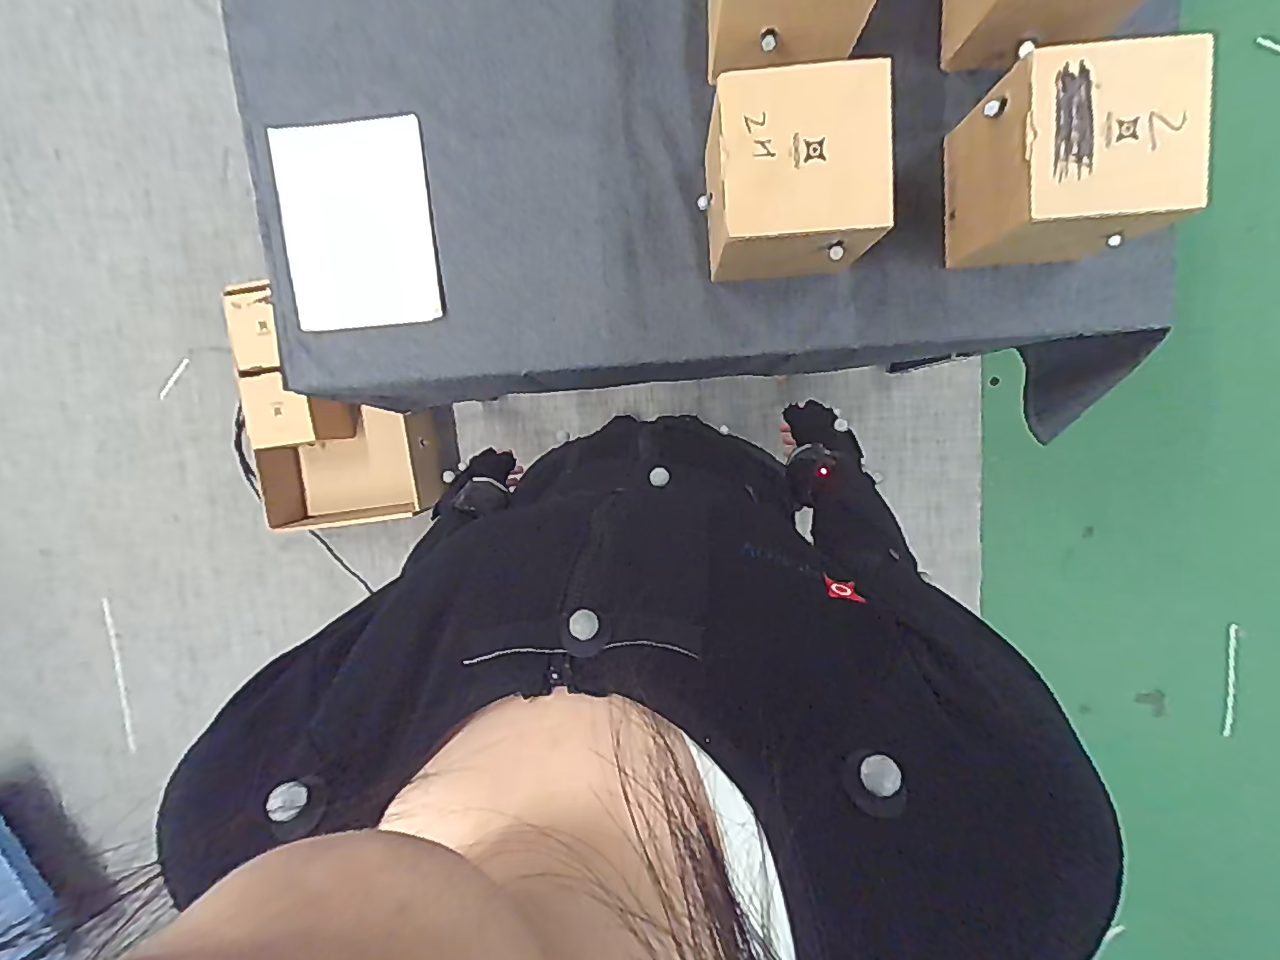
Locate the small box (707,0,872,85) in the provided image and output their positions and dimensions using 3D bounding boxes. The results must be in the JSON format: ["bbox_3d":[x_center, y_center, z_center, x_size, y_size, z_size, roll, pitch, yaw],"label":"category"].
[{"bbox_3d":[0.167,-0.581,0.619,0.168,0.176,0.179,-1,95,3],"label":"small box"}]

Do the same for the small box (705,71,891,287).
[{"bbox_3d":[0.173,-0.336,0.637,0.179,0.176,0.168,-3,94,3],"label":"small box"}]

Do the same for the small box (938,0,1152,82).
[{"bbox_3d":[0.456,-0.590,0.603,0.168,0.176,0.179,-1,96,3],"label":"small box"}]
